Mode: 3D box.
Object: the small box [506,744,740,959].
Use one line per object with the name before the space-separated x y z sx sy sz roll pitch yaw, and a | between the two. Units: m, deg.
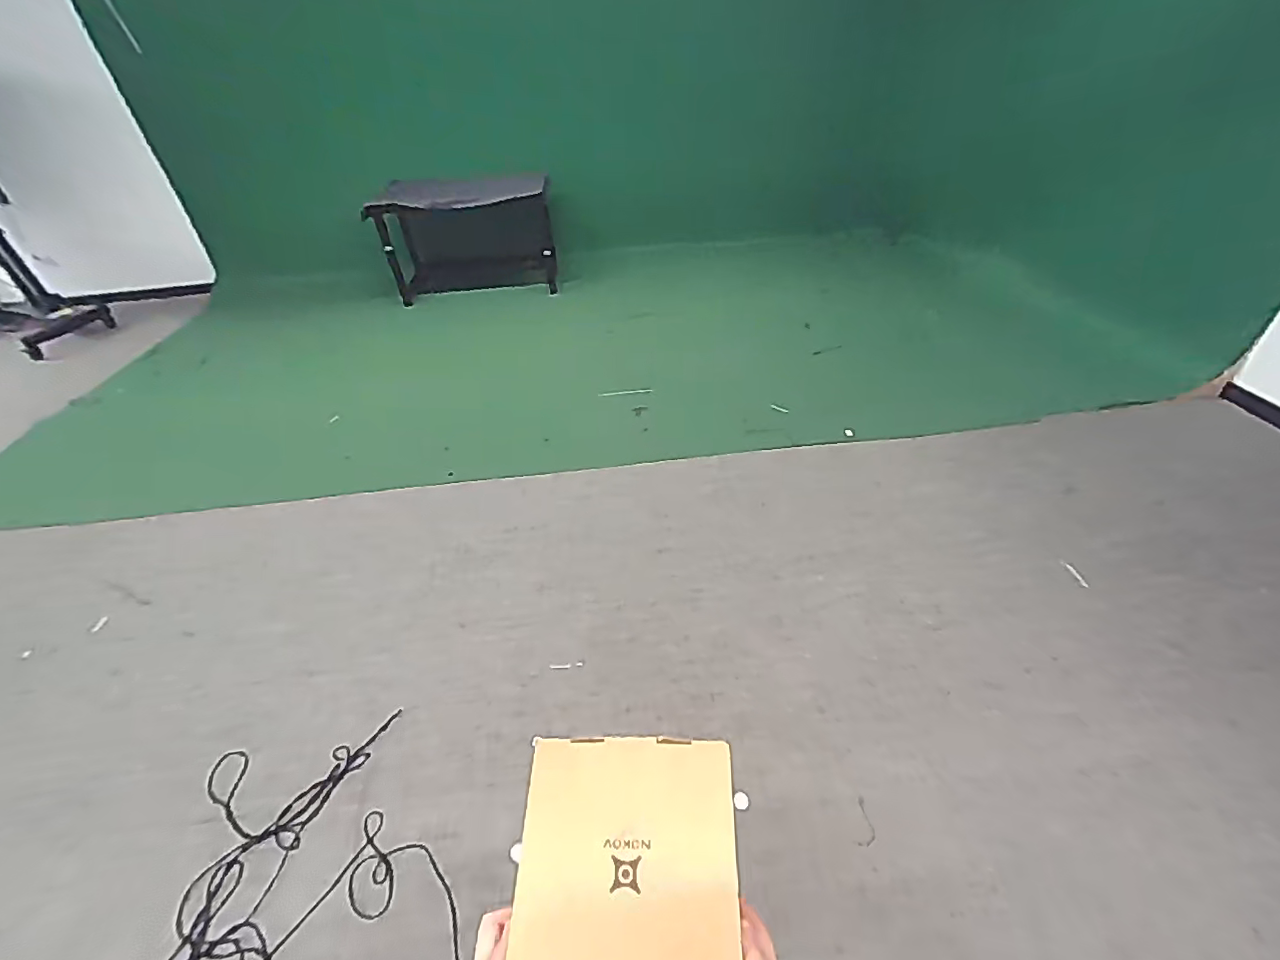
small box | -0.004 0.339 0.462 0.168 0.176 0.179 -1 52 4
